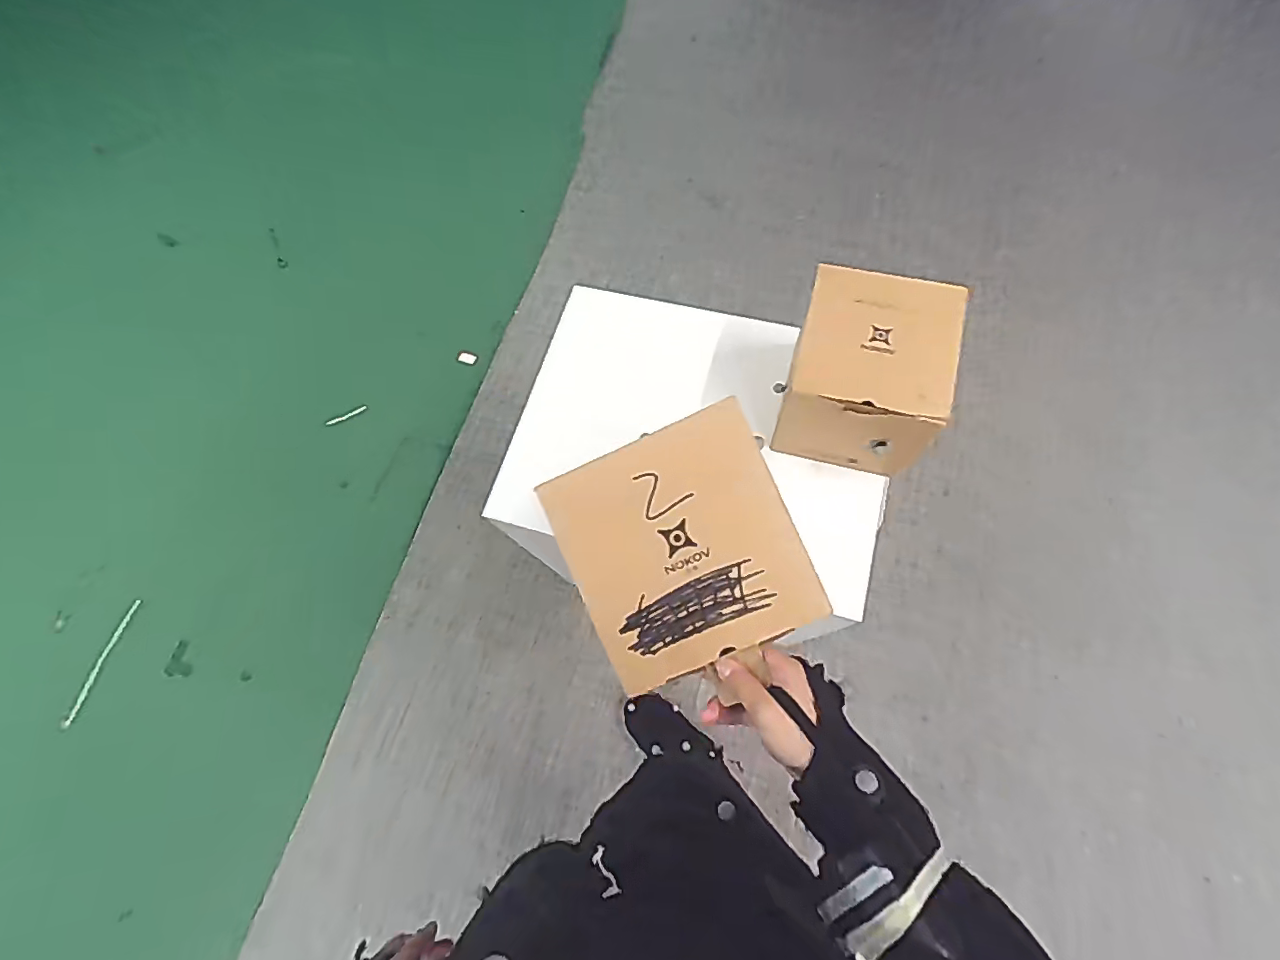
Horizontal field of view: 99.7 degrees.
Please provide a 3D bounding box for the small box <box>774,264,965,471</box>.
[{"bbox_3d":[0.270,-0.129,0.667,0.168,0.176,0.179,14,71,10],"label":"small box"}]
